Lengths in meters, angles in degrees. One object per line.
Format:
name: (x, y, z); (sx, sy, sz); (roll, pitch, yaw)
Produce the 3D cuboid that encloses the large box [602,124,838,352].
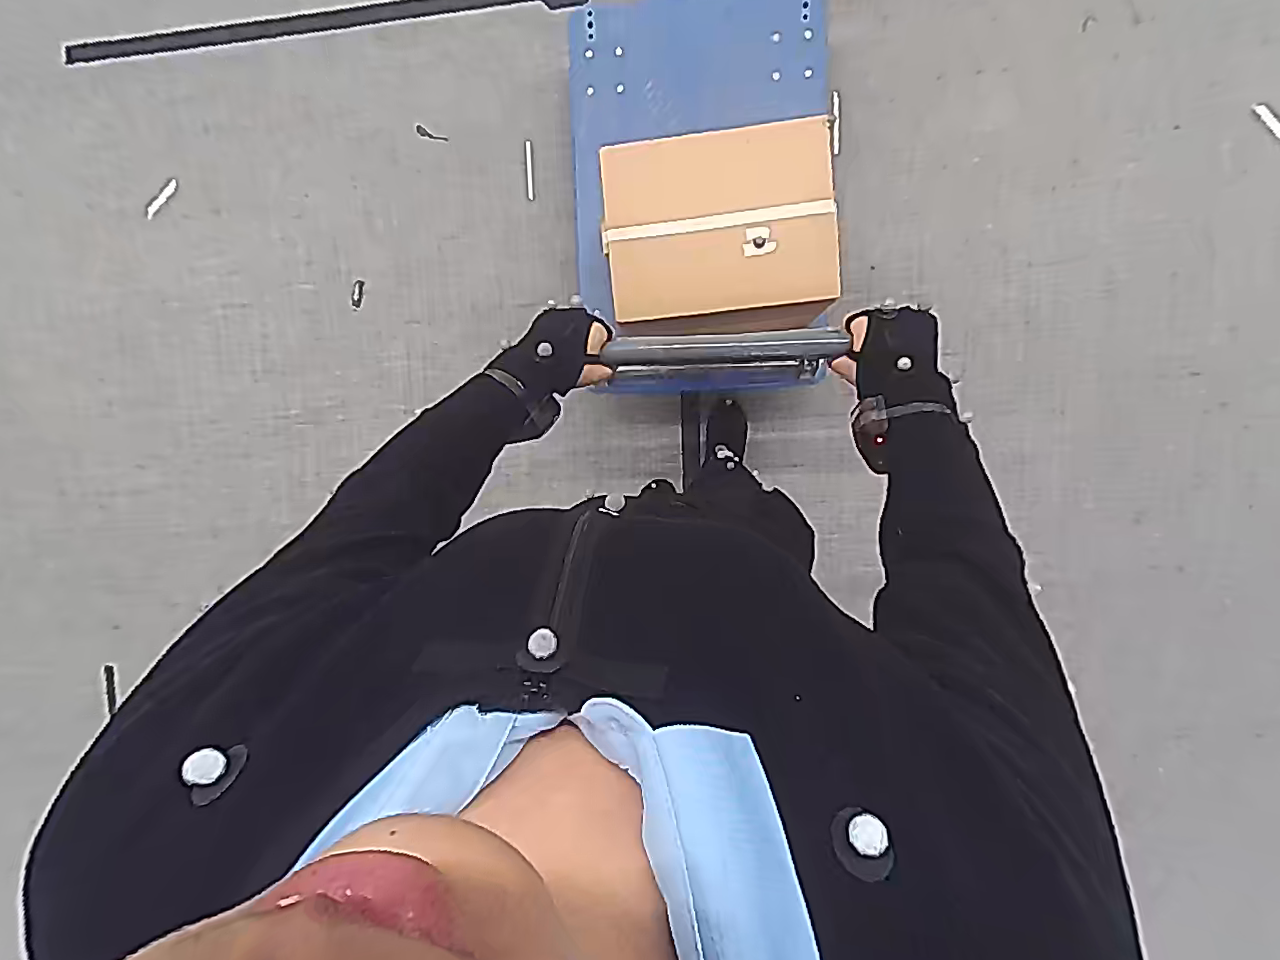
large box: (0.150, -0.464, 1.119); (0.408, 0.320, 0.320); (-5, 95, 4)
